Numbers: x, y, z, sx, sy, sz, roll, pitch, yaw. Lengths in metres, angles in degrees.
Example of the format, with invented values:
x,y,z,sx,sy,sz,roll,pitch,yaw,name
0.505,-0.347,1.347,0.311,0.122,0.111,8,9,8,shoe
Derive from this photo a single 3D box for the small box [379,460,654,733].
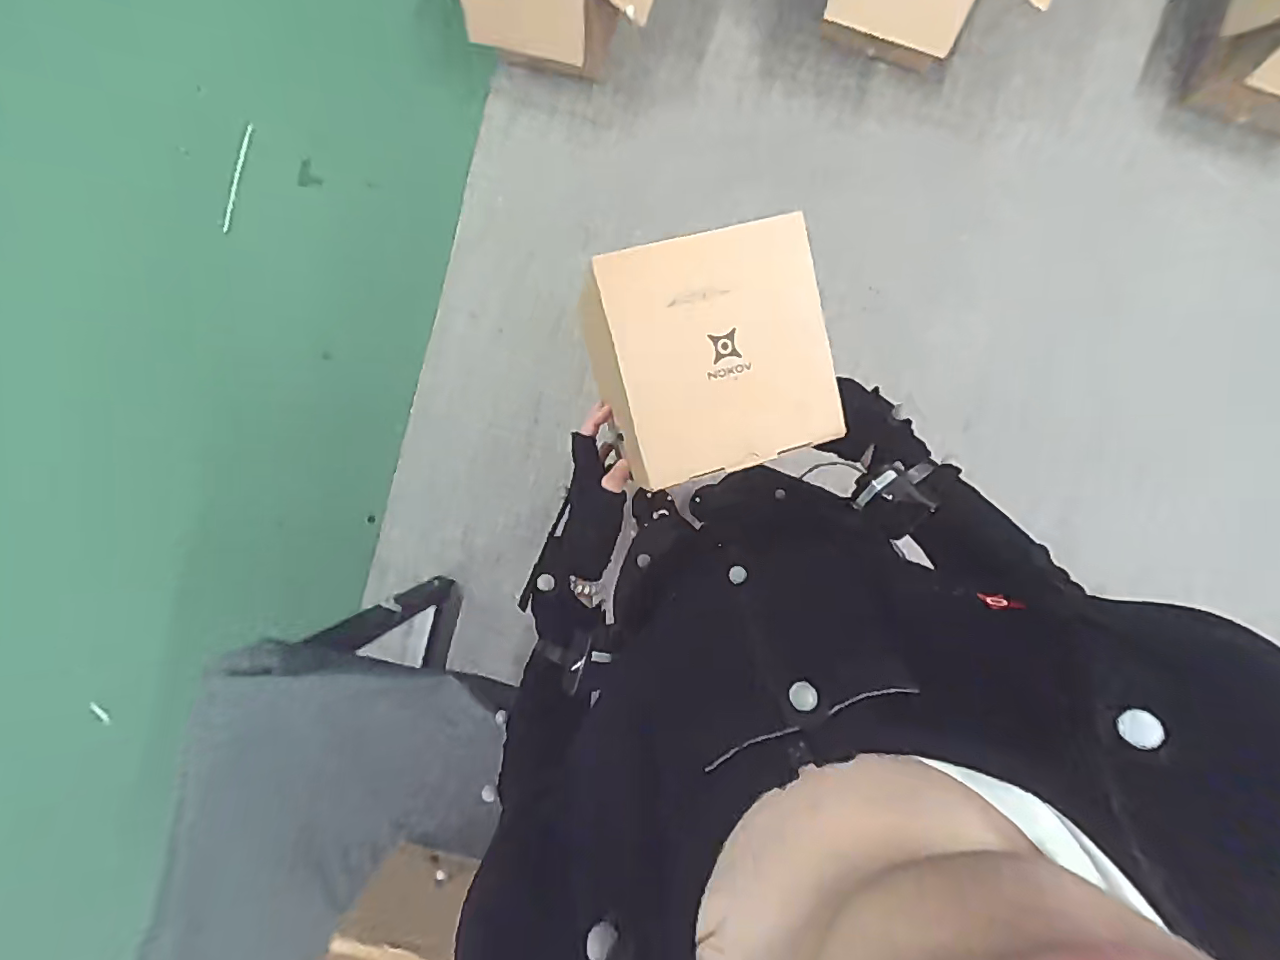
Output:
x,y,z,sx,sy,sz,roll,pitch,yaw,name
-0.113,0.107,0.536,0.176,0.168,0.179,41,76,4,small box

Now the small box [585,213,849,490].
x,y,z,sx,sy,sz,roll,pitch,yaw,name
0.054,-0.104,0.477,0.168,0.176,0.179,-15,99,-9,small box

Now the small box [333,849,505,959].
x,y,z,sx,sy,sz,roll,pitch,yaw,name
-0.288,0.638,0.707,0.168,0.176,0.179,12,91,1,small box
